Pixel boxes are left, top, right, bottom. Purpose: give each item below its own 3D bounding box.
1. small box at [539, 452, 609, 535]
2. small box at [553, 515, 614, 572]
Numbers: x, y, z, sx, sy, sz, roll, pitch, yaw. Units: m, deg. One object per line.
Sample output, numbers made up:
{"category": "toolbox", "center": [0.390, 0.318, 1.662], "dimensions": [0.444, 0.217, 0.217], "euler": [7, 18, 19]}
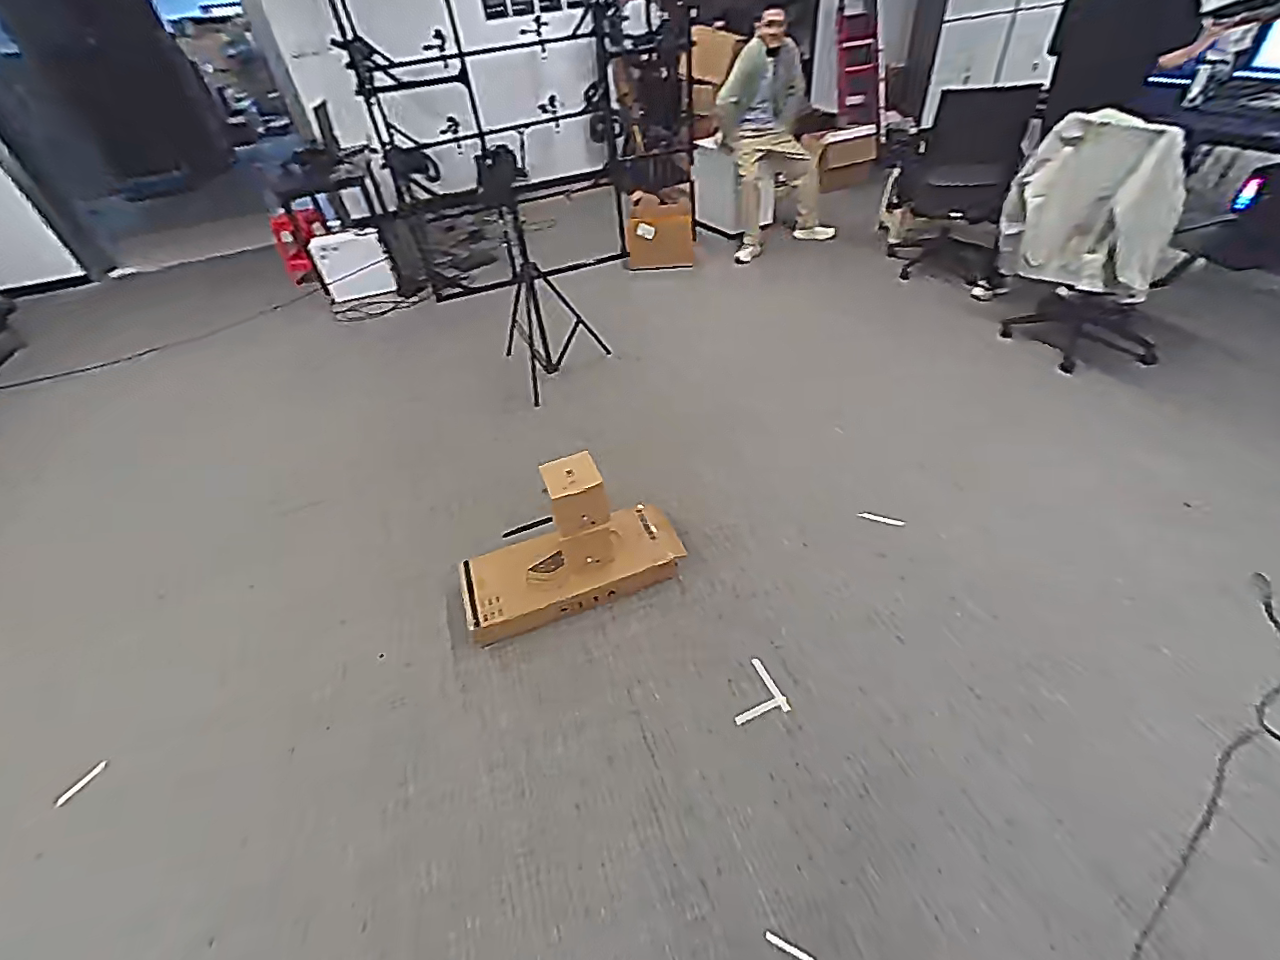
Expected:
{"category": "small box", "center": [-0.208, 0.044, 1.719], "dimensions": [0.168, 0.176, 0.179], "euler": [-19, 43, -12]}
{"category": "small box", "center": [-0.192, 0.177, 1.817], "dimensions": [0.168, 0.176, 0.179], "euler": [-16, 43, -9]}
